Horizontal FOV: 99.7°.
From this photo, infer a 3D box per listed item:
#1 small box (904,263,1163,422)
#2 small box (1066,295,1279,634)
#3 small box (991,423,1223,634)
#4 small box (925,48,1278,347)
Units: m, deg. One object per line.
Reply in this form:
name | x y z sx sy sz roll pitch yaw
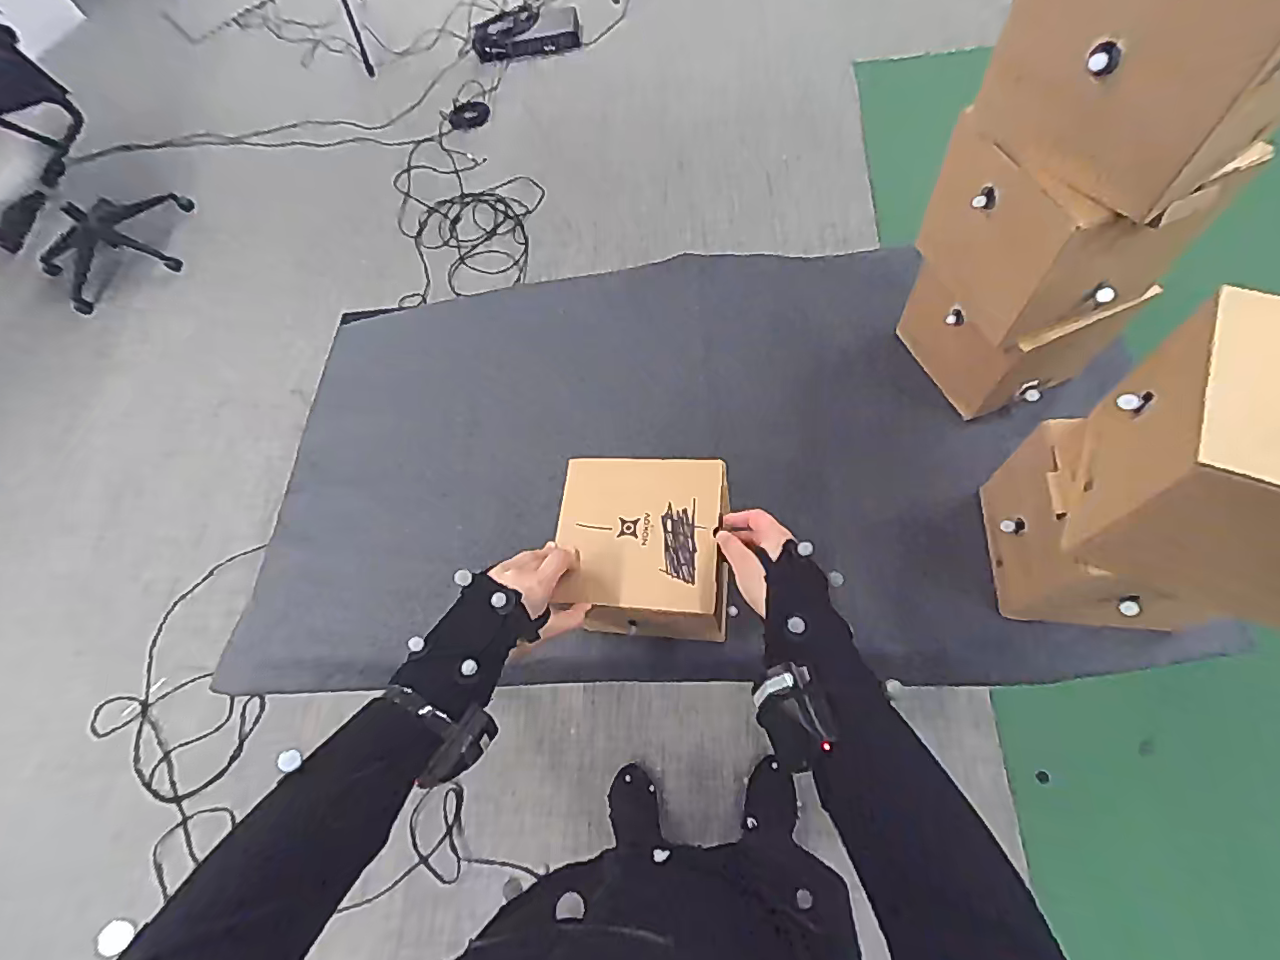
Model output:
small box | 0.469 -0.205 0.685 0.168 0.176 0.179 -24 66 1
small box | 0.471 -0.003 0.408 0.179 0.176 0.168 23 69 19
small box | 0.492 0.056 0.560 0.179 0.176 0.168 2 63 11
small box | 0.420 -0.268 0.539 0.168 0.176 0.179 -21 65 4
